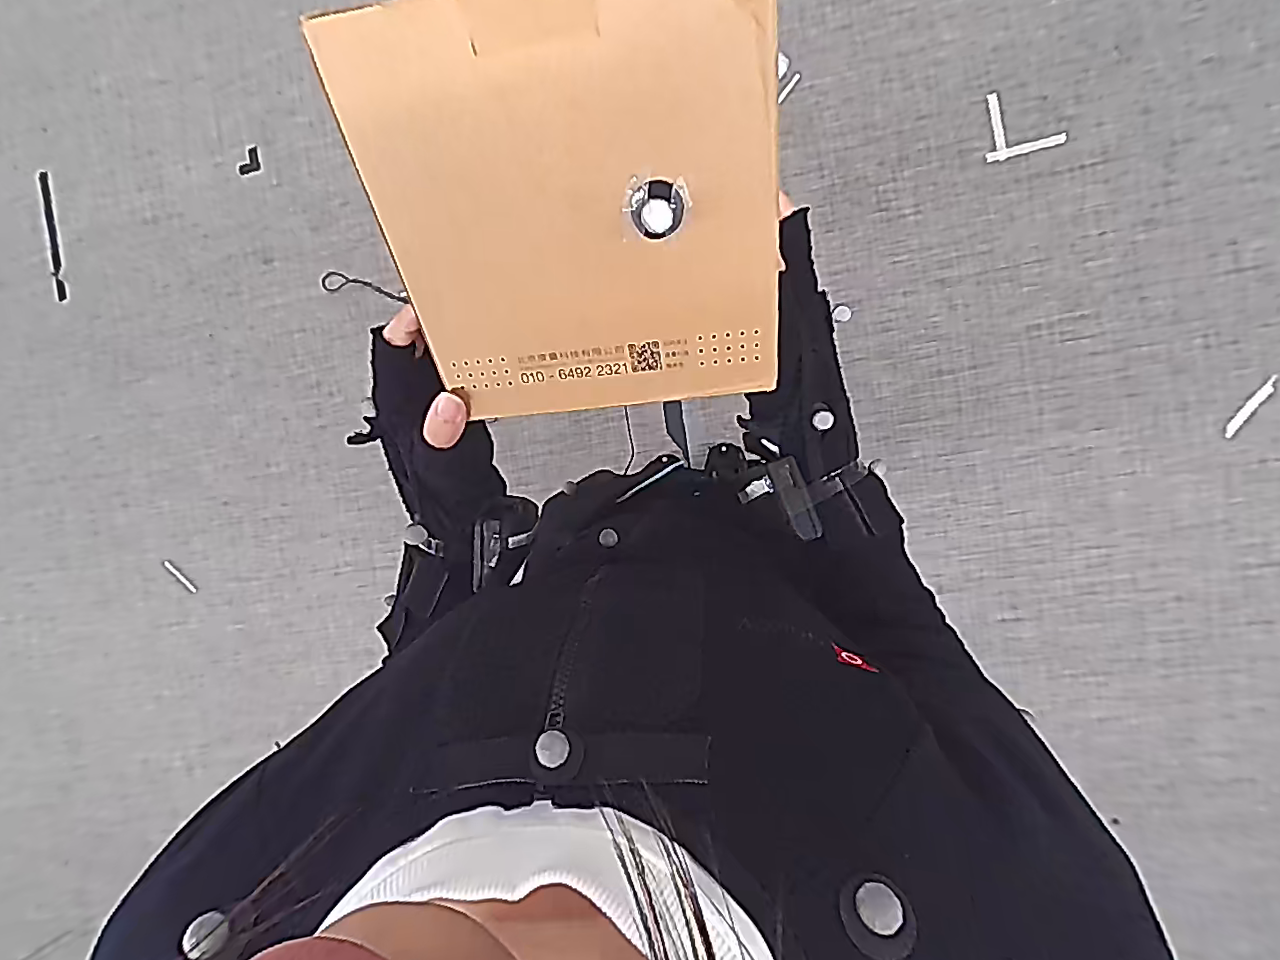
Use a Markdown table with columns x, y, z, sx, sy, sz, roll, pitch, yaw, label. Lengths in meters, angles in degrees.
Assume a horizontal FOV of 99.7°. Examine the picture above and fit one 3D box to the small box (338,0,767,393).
| x | y | z | sx | sy | sz | roll | pitch | yaw | label |
| --- | --- | --- | --- | --- | --- | --- | --- | --- | --- |
| -0.018 | -0.159 | 0.308 | 0.168 | 0.179 | 0.176 | -3 | 128 | 9 | small box |
